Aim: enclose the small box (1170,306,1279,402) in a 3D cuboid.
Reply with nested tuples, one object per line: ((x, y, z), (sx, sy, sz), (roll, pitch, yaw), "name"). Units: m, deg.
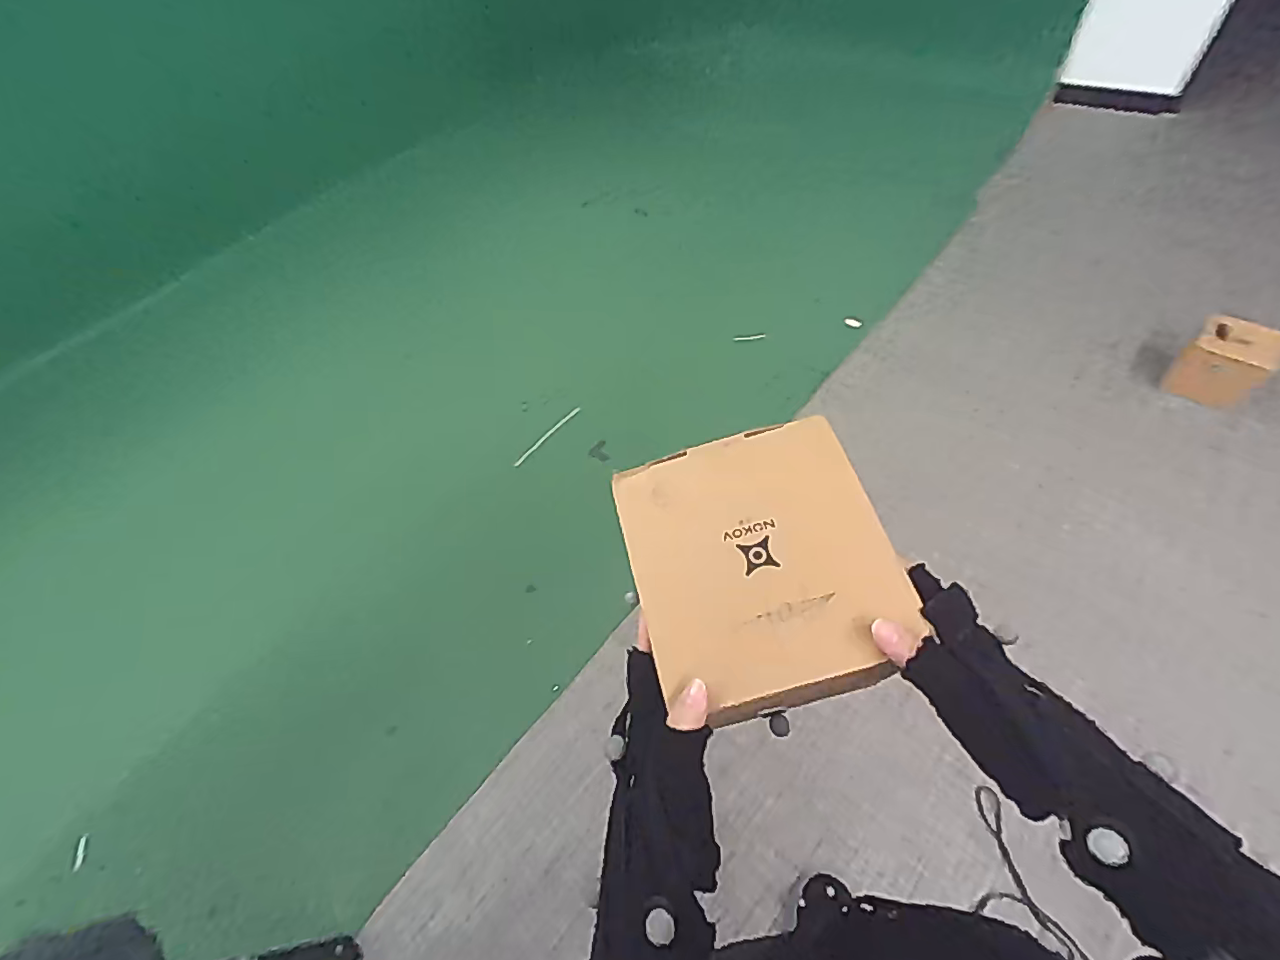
((1.658, -0.349, 1.515), (0.179, 0.176, 0.168), (35, 69, 28), "small box")

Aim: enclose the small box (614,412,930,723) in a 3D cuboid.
((0.087, 0.079, 0.427), (0.168, 0.176, 0.179), (-15, 62, 3), "small box")
